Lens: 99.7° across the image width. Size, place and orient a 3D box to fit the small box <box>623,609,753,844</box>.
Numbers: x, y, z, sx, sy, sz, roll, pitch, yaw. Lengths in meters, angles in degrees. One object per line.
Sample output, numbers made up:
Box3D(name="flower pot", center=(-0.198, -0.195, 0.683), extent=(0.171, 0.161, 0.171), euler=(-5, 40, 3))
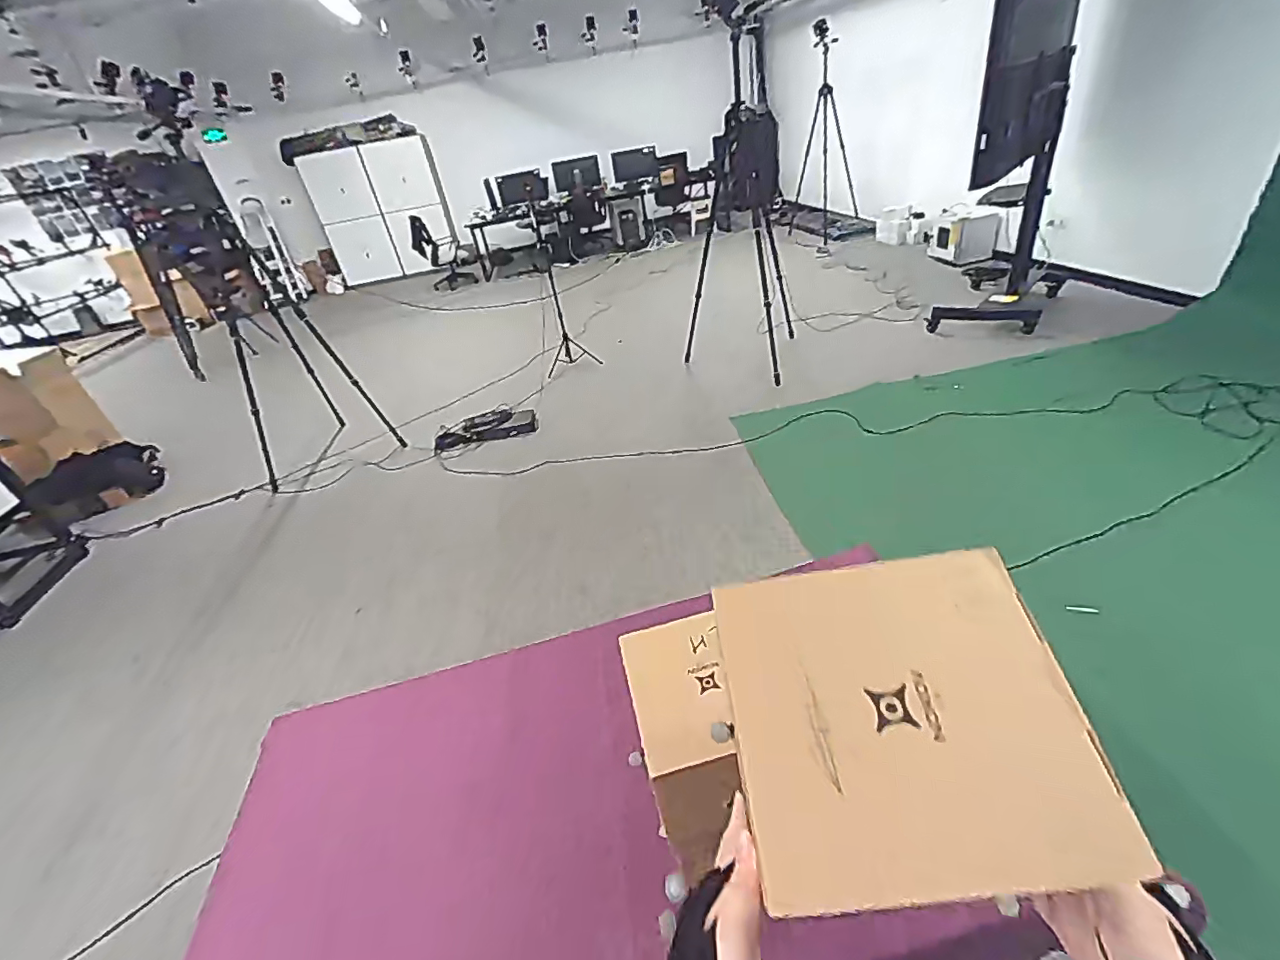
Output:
Box3D(name="small box", center=(0.084, 0.276, 0.610), extent=(0.168, 0.176, 0.179), euler=(-12, 32, -3))

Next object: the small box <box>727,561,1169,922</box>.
Box3D(name="small box", center=(0.156, 0.171, 0.354), extent=(0.179, 0.176, 0.168), euler=(-9, 55, 5))

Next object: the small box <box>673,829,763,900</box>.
Box3D(name="small box", center=(0.118, 0.409, 0.705), extent=(0.168, 0.176, 0.179), euler=(-14, 34, -4))
